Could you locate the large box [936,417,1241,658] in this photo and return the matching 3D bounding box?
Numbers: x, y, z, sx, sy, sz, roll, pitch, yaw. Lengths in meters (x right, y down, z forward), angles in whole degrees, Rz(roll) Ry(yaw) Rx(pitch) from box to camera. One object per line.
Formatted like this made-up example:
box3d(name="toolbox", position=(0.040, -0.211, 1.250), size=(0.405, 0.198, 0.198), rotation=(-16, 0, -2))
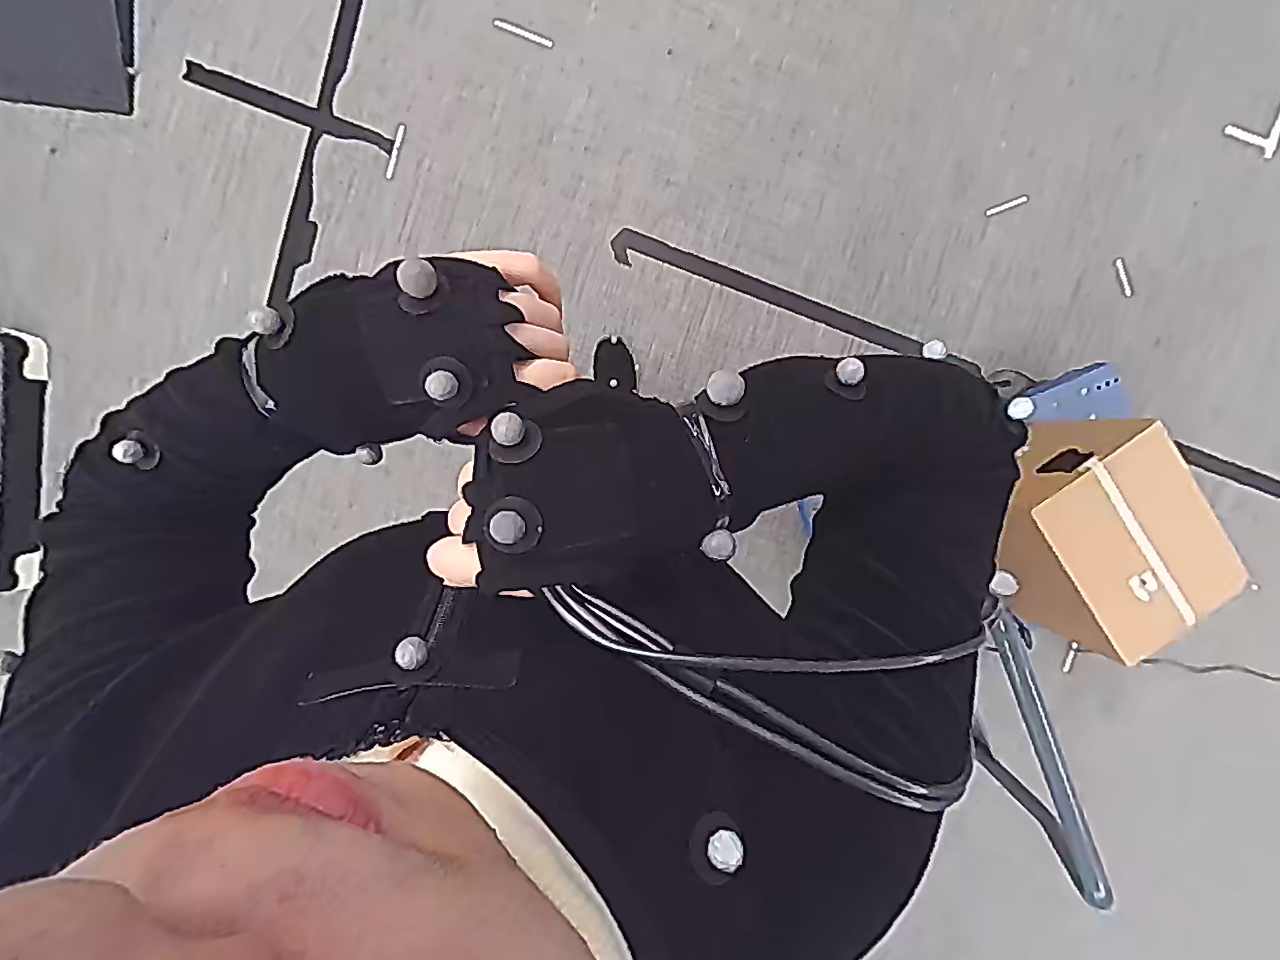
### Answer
box3d(name="large box", position=(0.977, 0.105, 1.225), size=(0.320, 0.320, 0.408), rotation=(-35, 97, 1))
